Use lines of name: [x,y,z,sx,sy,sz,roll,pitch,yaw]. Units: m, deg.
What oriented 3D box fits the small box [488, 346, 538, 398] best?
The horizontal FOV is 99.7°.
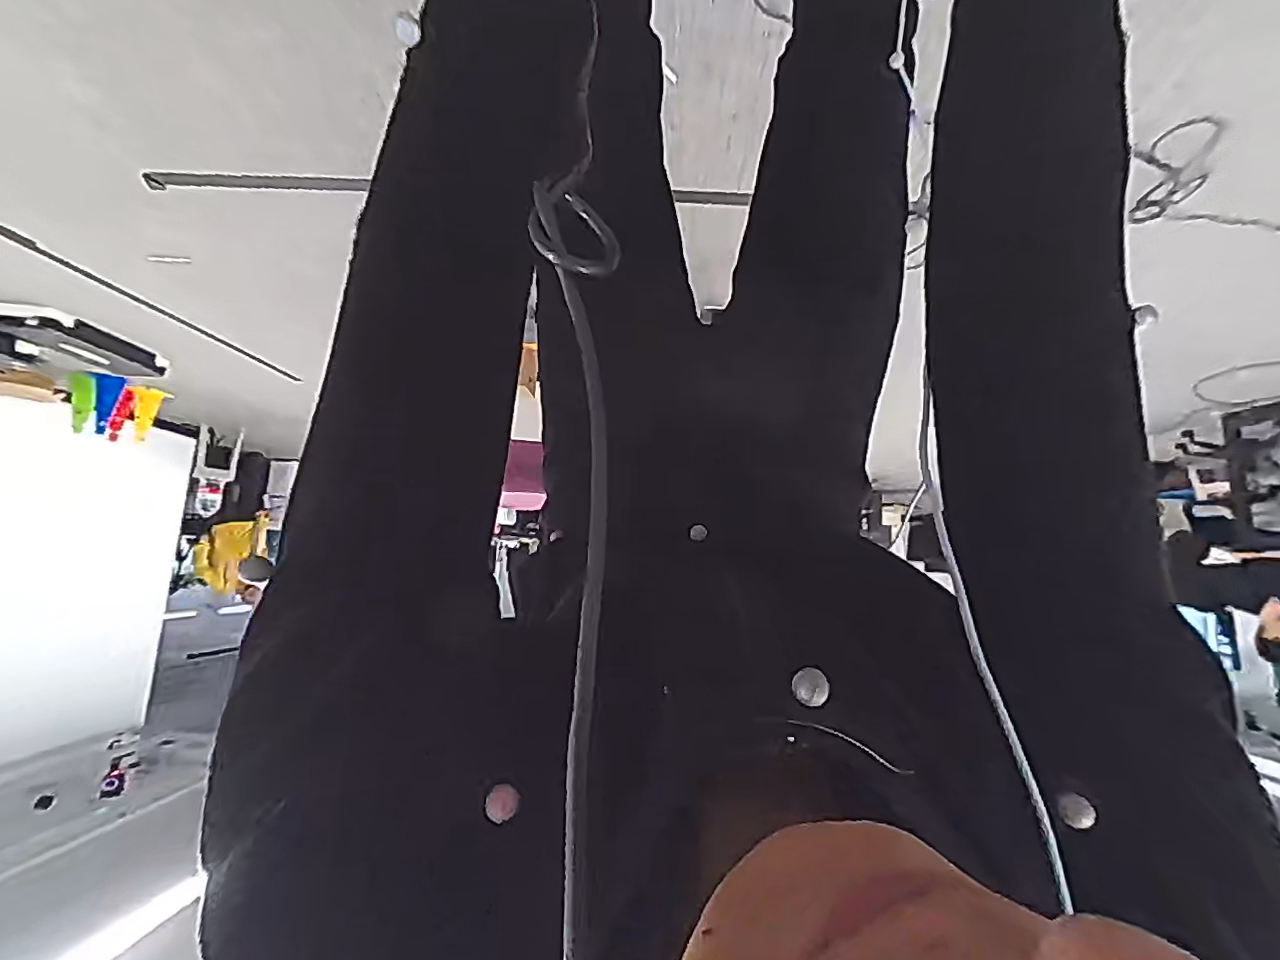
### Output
small box: [-0.532,-0.455,2.278,0.168,0.176,0.179,3,172,1]
